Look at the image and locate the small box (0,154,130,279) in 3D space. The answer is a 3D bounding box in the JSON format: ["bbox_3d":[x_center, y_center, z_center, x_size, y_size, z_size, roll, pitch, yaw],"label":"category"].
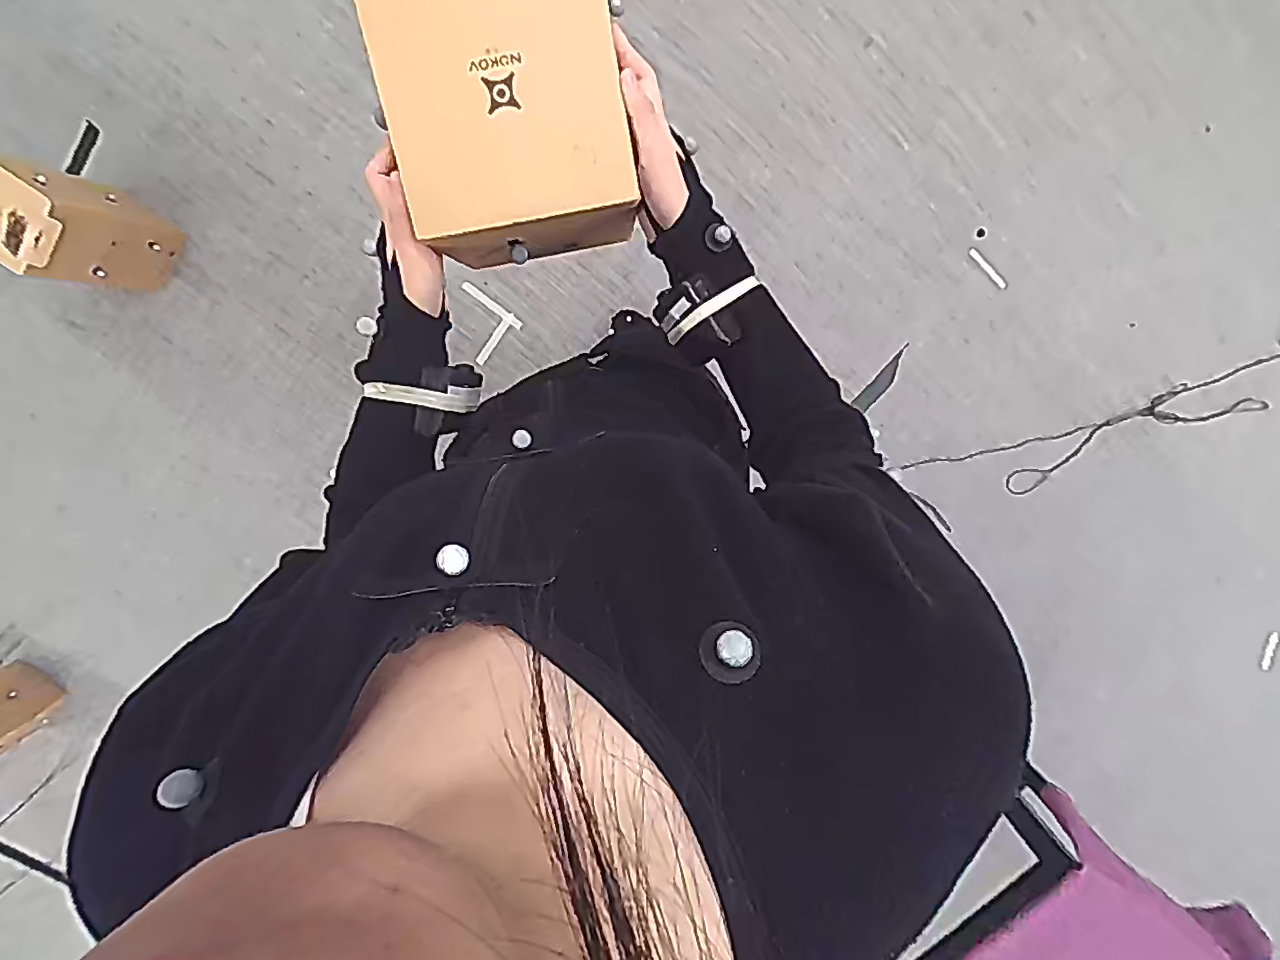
[{"bbox_3d":[-1.201,-0.524,1.086,0.179,0.176,0.168,35,101,-10],"label":"small box"}]

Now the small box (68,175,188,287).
[{"bbox_3d":[-1.210,-0.564,1.245,0.179,0.176,0.168,34,101,-9],"label":"small box"}]

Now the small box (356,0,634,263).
[{"bbox_3d":[-0.099,-0.289,0.447,0.168,0.176,0.179,-11,103,0],"label":"small box"}]

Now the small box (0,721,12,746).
[{"bbox_3d":[-1.839,0.704,1.408,0.179,0.176,0.168,42,101,-13],"label":"small box"}]
